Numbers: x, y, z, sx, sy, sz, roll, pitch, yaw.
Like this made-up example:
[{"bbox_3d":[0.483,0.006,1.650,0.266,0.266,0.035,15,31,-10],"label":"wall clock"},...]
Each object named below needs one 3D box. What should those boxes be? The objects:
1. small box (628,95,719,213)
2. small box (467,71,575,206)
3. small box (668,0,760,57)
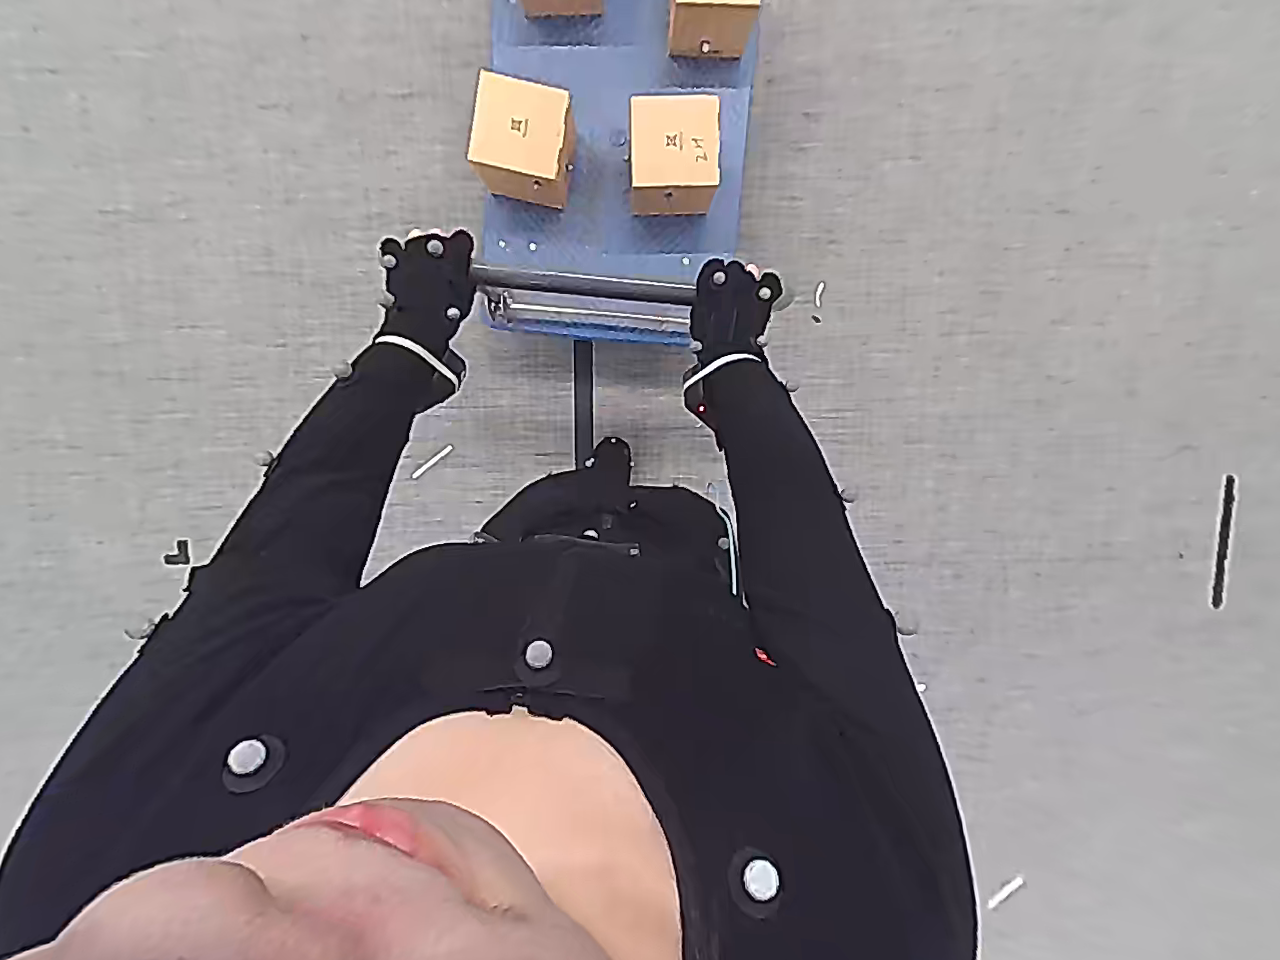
[{"bbox_3d":[0.066,-0.669,1.127,0.179,0.176,0.168,-2,99,-1],"label":"small box"},{"bbox_3d":[-0.238,-0.691,1.116,0.179,0.176,0.168,10,98,-4],"label":"small box"},{"bbox_3d":[0.144,-0.993,1.077,0.168,0.176,0.179,0,100,-1],"label":"small box"}]
